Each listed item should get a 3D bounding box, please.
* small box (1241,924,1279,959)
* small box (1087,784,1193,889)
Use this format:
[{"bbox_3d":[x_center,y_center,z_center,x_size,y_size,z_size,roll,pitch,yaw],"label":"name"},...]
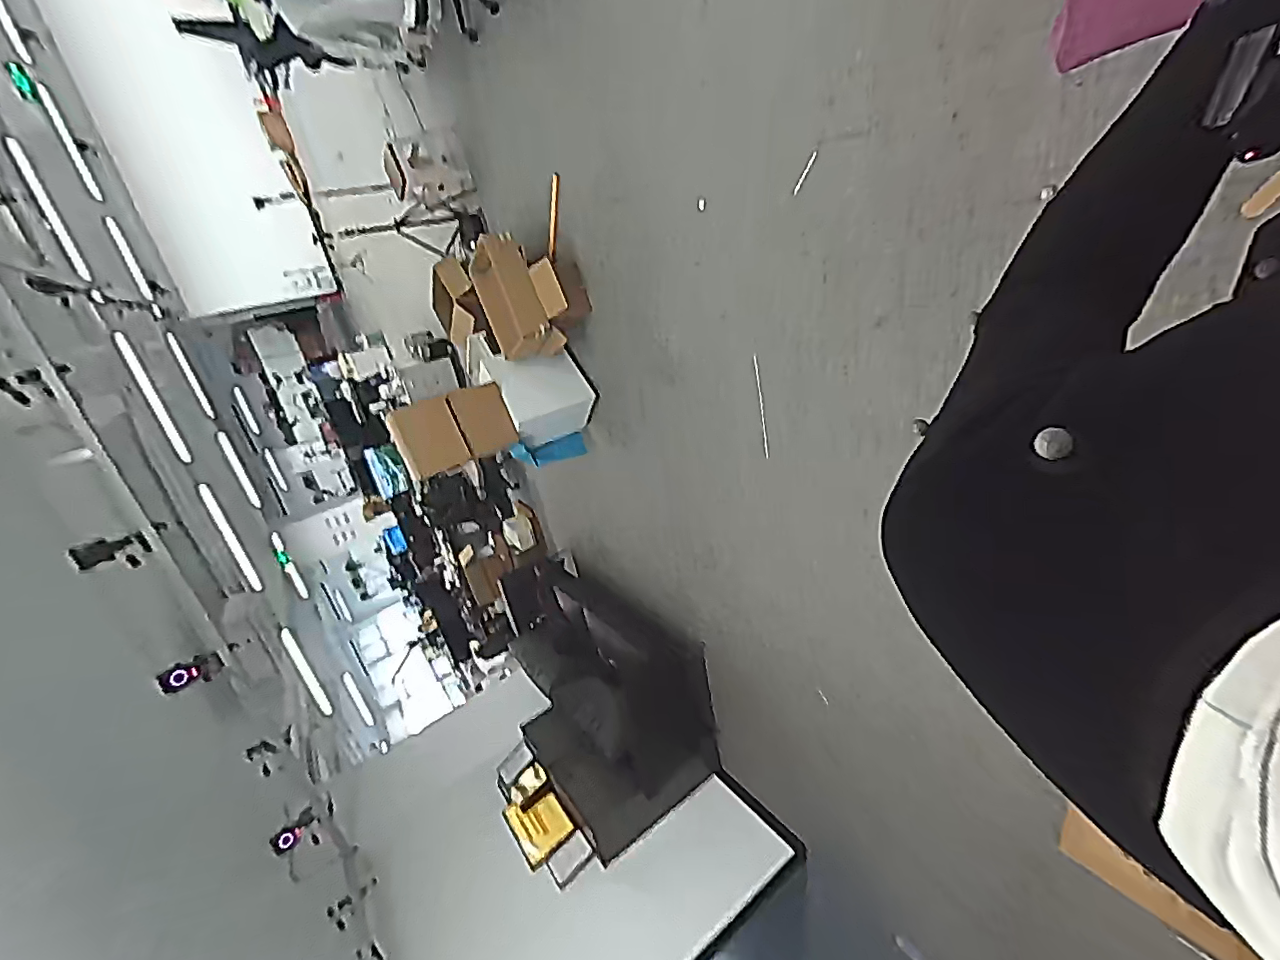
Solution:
[{"bbox_3d":[1.736,1.340,1.436,0.179,0.176,0.168,24,132,51],"label":"small box"},{"bbox_3d":[1.501,1.058,1.625,0.179,0.176,0.168,26,133,50],"label":"small box"}]
